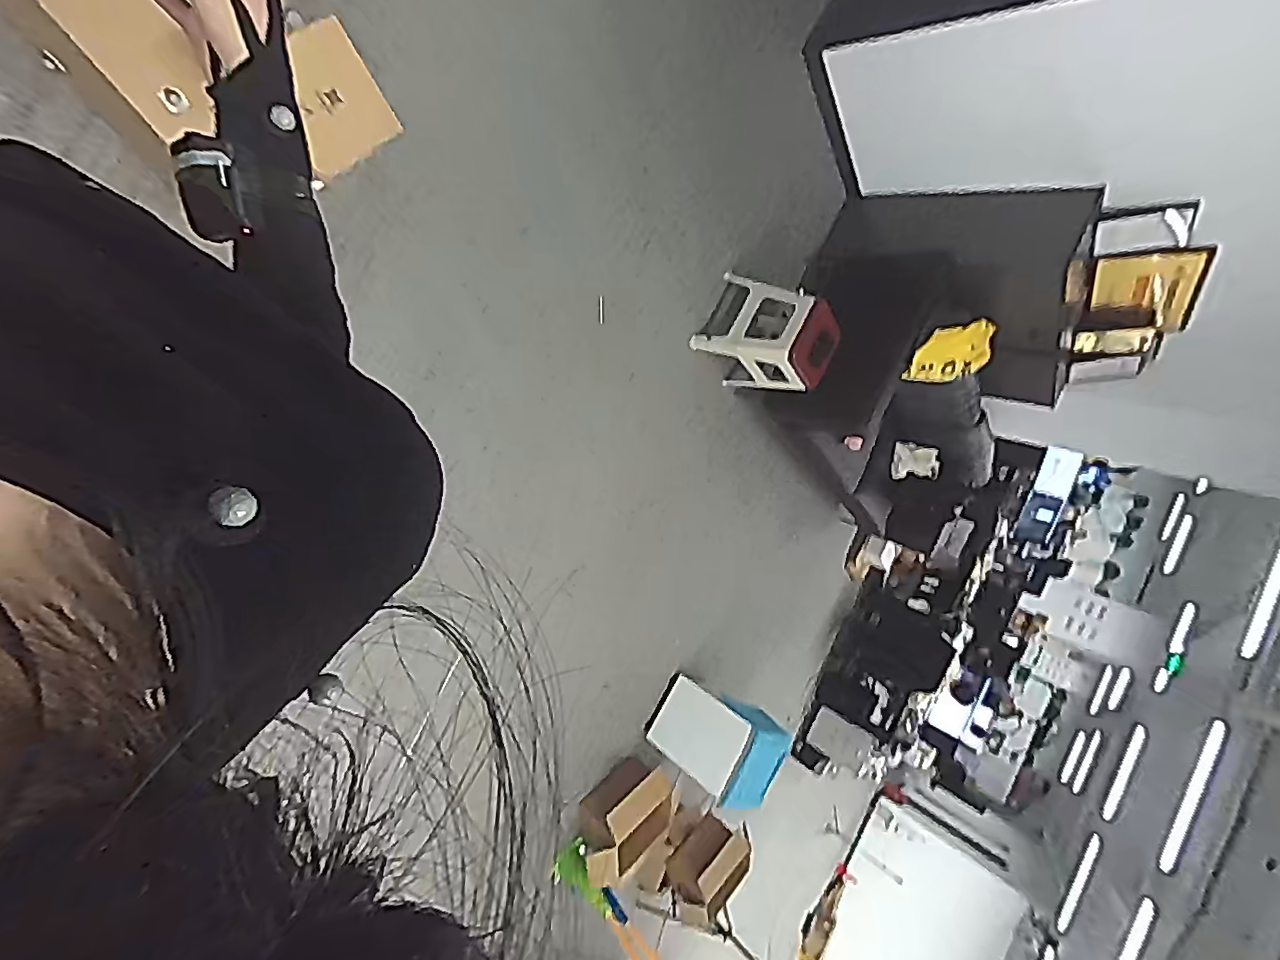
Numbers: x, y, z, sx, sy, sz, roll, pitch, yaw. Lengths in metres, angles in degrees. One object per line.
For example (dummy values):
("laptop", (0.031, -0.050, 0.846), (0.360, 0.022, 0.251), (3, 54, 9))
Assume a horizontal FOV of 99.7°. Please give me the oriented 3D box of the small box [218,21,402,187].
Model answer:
("small box", (-0.543, -0.609, 0.891), (0.179, 0.176, 0.168), (-50, 137, -22))
